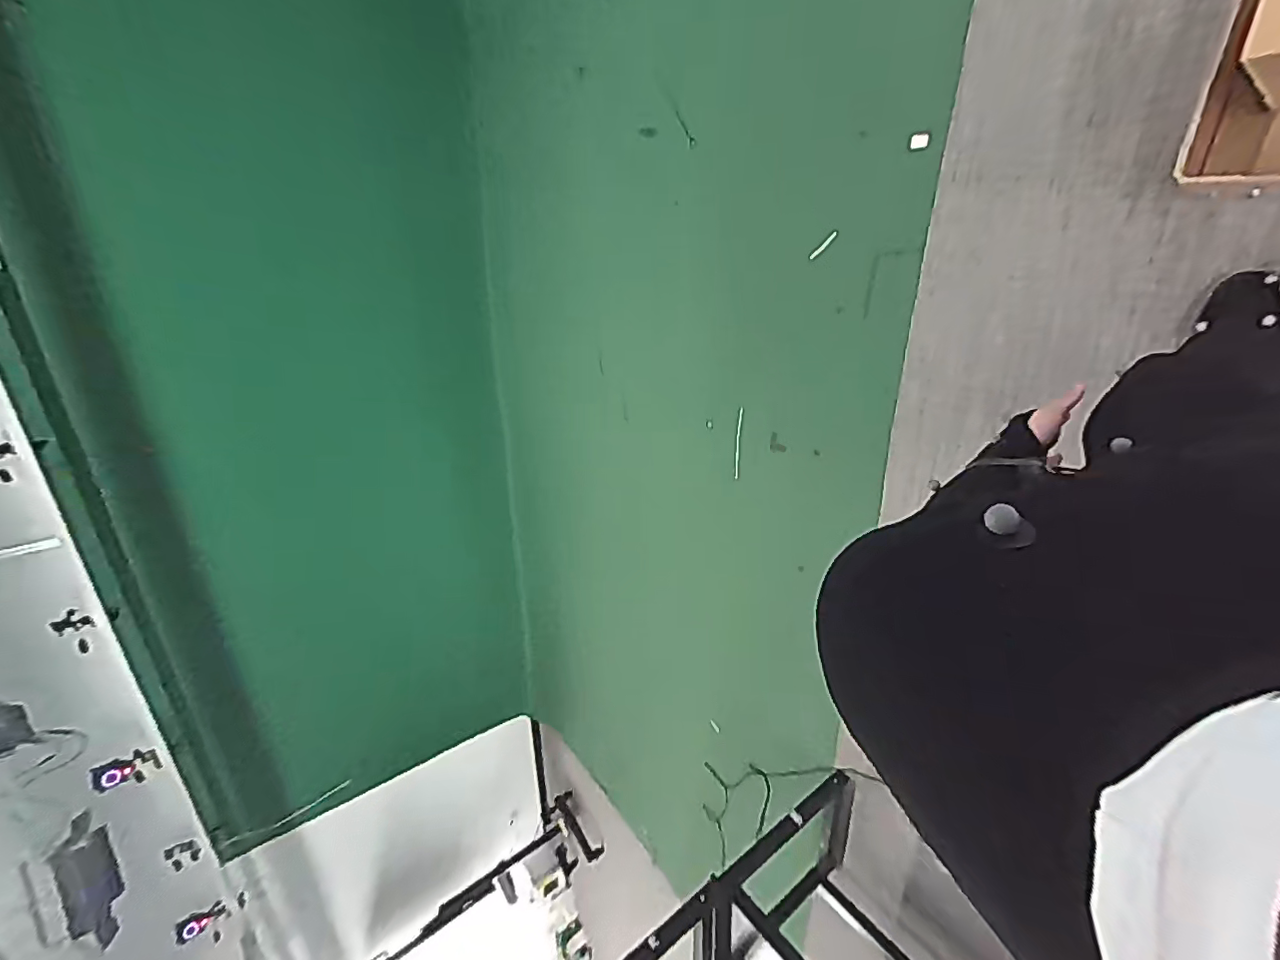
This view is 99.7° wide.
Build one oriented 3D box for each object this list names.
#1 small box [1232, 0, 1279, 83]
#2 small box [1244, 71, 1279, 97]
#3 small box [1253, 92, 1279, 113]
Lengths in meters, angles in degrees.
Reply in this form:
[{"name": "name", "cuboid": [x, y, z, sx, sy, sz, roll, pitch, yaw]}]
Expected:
[{"name": "small box", "cuboid": [0.860, -0.605, 0.639, 0.168, 0.176, 0.179, 26, 124, 47]}, {"name": "small box", "cuboid": [0.986, -0.644, 0.735, 0.168, 0.176, 0.179, 26, 123, 47]}, {"name": "small box", "cuboid": [1.110, -0.684, 0.831, 0.168, 0.176, 0.179, 27, 124, 46]}]
